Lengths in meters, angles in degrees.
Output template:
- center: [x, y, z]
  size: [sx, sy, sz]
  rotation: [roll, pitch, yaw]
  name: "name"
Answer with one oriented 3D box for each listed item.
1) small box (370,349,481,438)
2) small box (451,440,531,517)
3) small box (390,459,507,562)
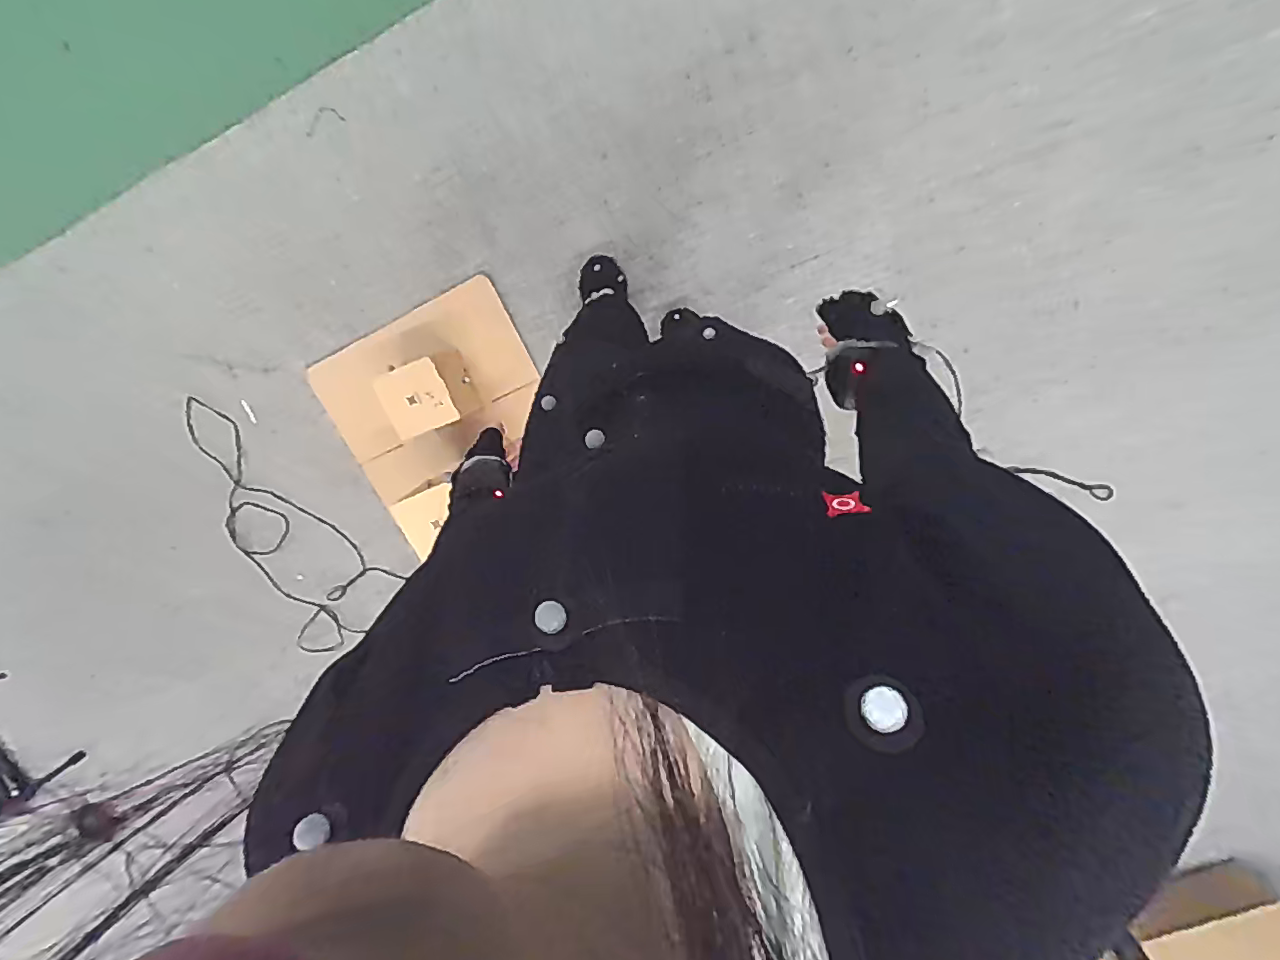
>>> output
- center: [-0.543, -0.226, 1.392]
  size: [0.179, 0.176, 0.168]
  rotation: [-18, 107, 10]
  name: "small box"
- center: [-0.411, 0.011, 1.459]
  size: [0.179, 0.176, 0.168]
  rotation: [-25, 105, 13]
  name: "small box"
- center: [-0.454, 0.070, 1.310]
  size: [0.179, 0.176, 0.168]
  rotation: [-22, 105, 12]
  name: "small box"
